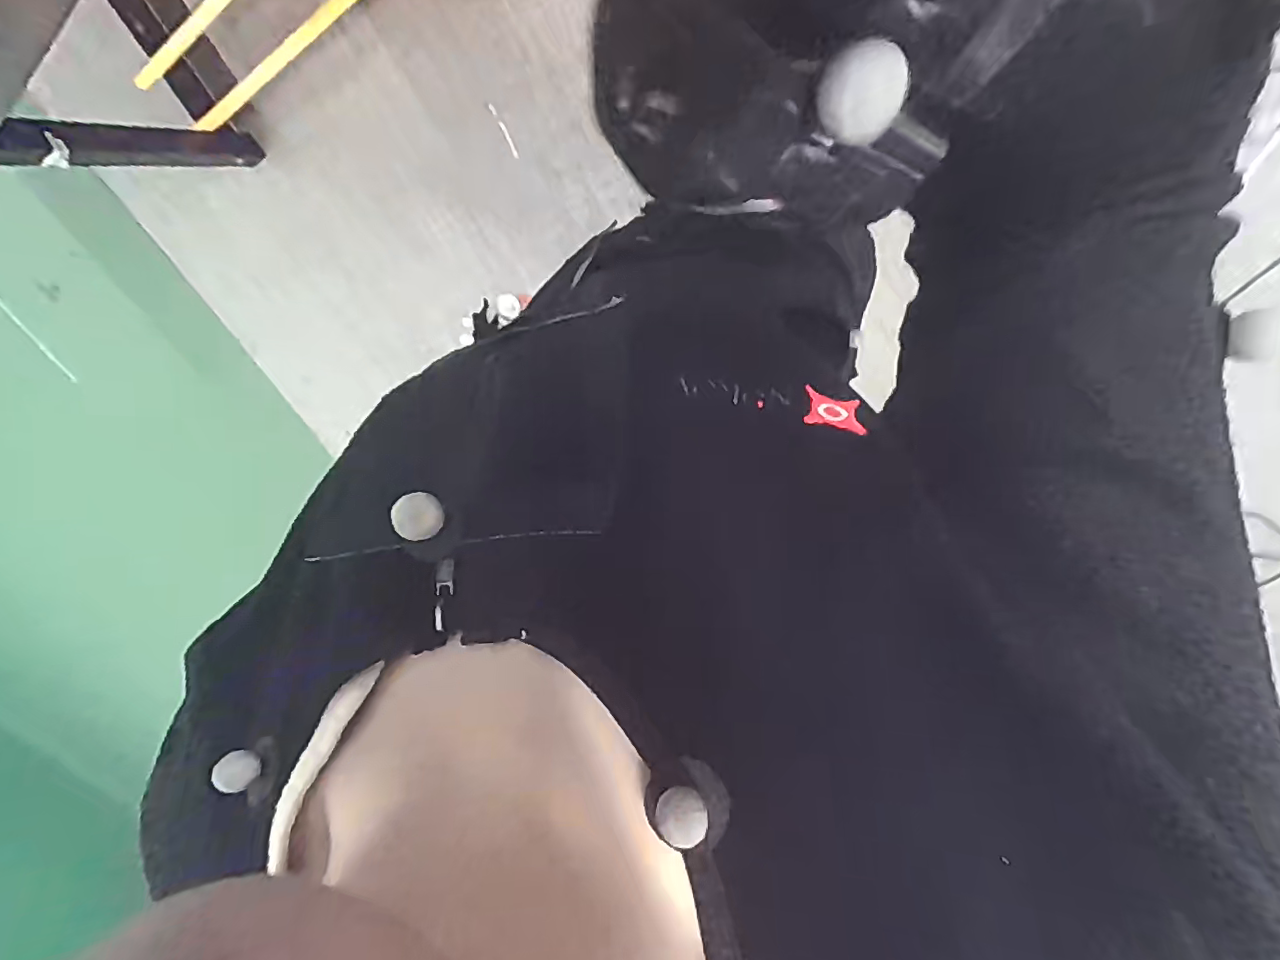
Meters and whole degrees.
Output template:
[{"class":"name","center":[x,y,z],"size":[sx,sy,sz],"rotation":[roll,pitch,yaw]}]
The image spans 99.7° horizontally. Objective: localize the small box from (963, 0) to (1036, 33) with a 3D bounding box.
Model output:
[{"class":"small box","center":[0.512,-0.718,0.681],"size":[0.179,0.176,0.168],"rotation":[-26,112,23]}]

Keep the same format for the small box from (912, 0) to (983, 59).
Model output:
[{"class":"small box","center":[0.532,-0.794,0.825],"size":[0.179,0.176,0.168],"rotation":[-26,111,25]}]
